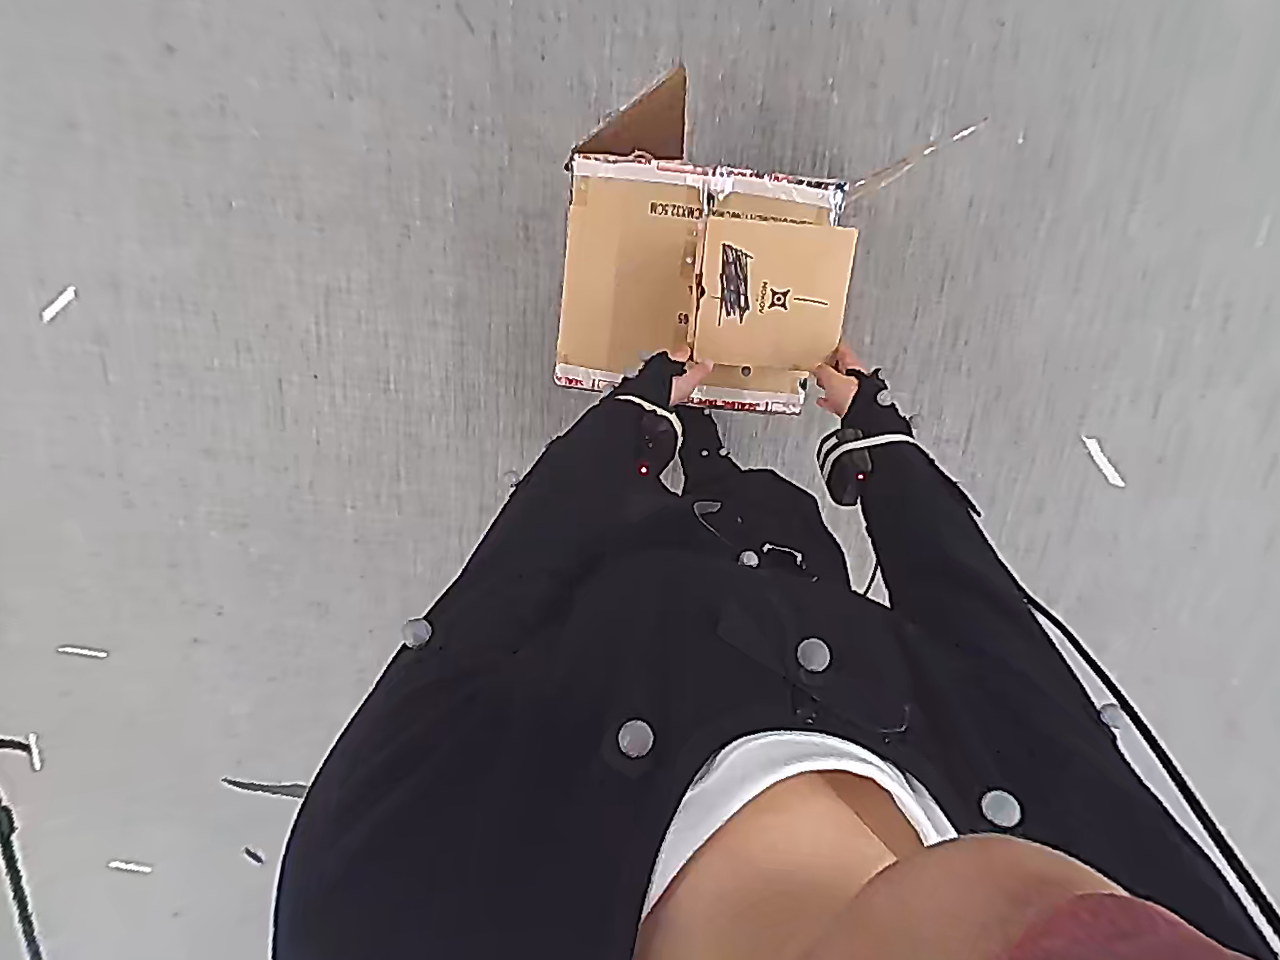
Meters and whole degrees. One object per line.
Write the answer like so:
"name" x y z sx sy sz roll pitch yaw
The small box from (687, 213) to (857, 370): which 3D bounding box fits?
"small box" 0.158 -0.239 0.714 0.179 0.176 0.168 5 106 0
